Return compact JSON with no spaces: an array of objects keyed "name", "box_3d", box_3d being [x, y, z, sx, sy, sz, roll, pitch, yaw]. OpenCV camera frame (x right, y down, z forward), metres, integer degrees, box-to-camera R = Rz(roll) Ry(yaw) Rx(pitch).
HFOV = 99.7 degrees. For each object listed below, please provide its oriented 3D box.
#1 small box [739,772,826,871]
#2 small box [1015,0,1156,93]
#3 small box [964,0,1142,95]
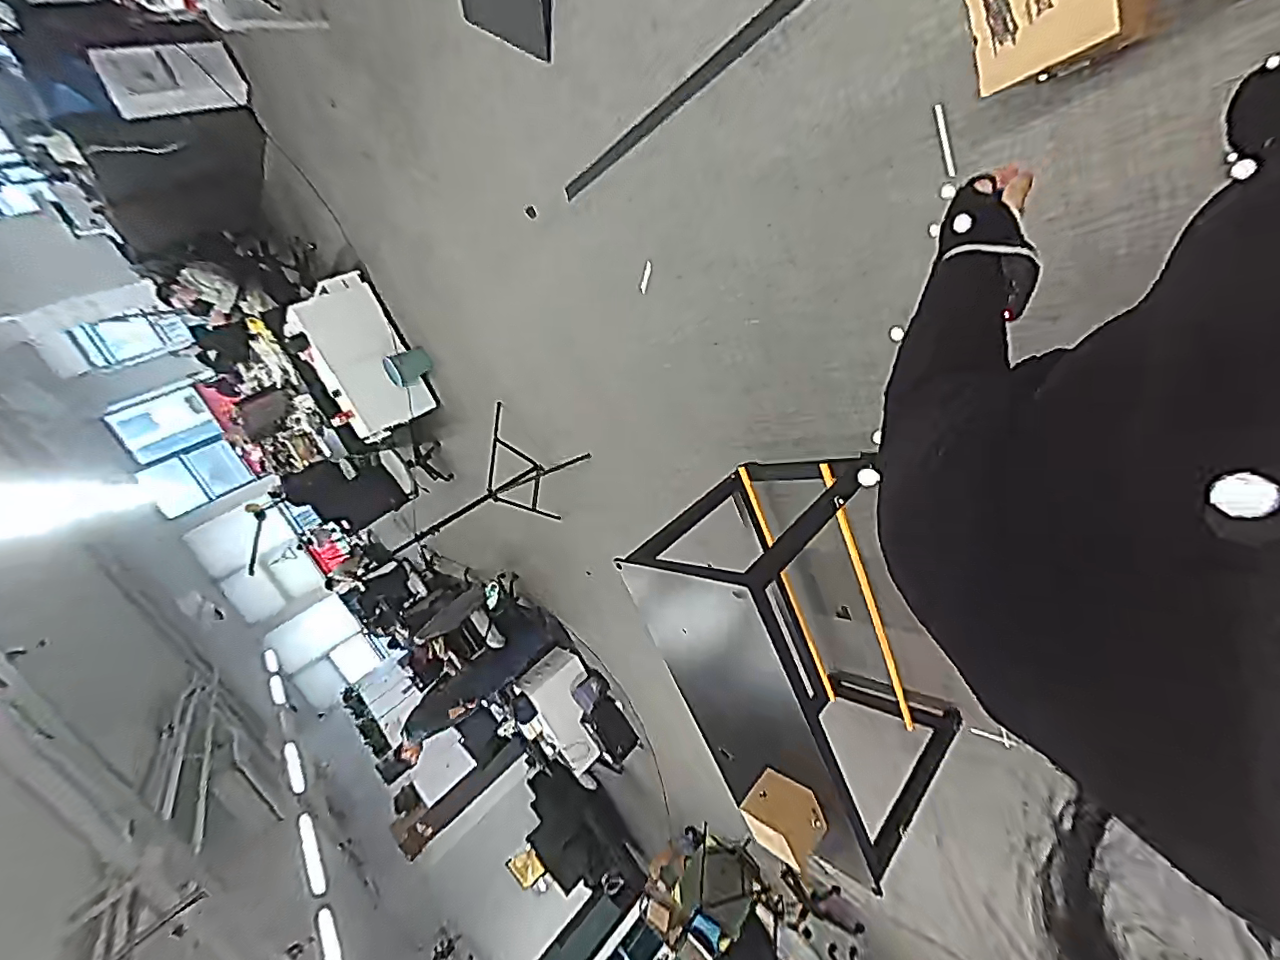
[{"name":"small box","box_3d":[0.448,1.059,1.697,0.179,0.176,0.168,-1,120,53]},{"name":"small box","box_3d":[0.747,-0.805,0.917,0.168,0.176,0.179,3,123,52]},{"name":"small box","box_3d":[0.631,-0.729,0.827,0.179,0.176,0.168,2,121,51]}]
